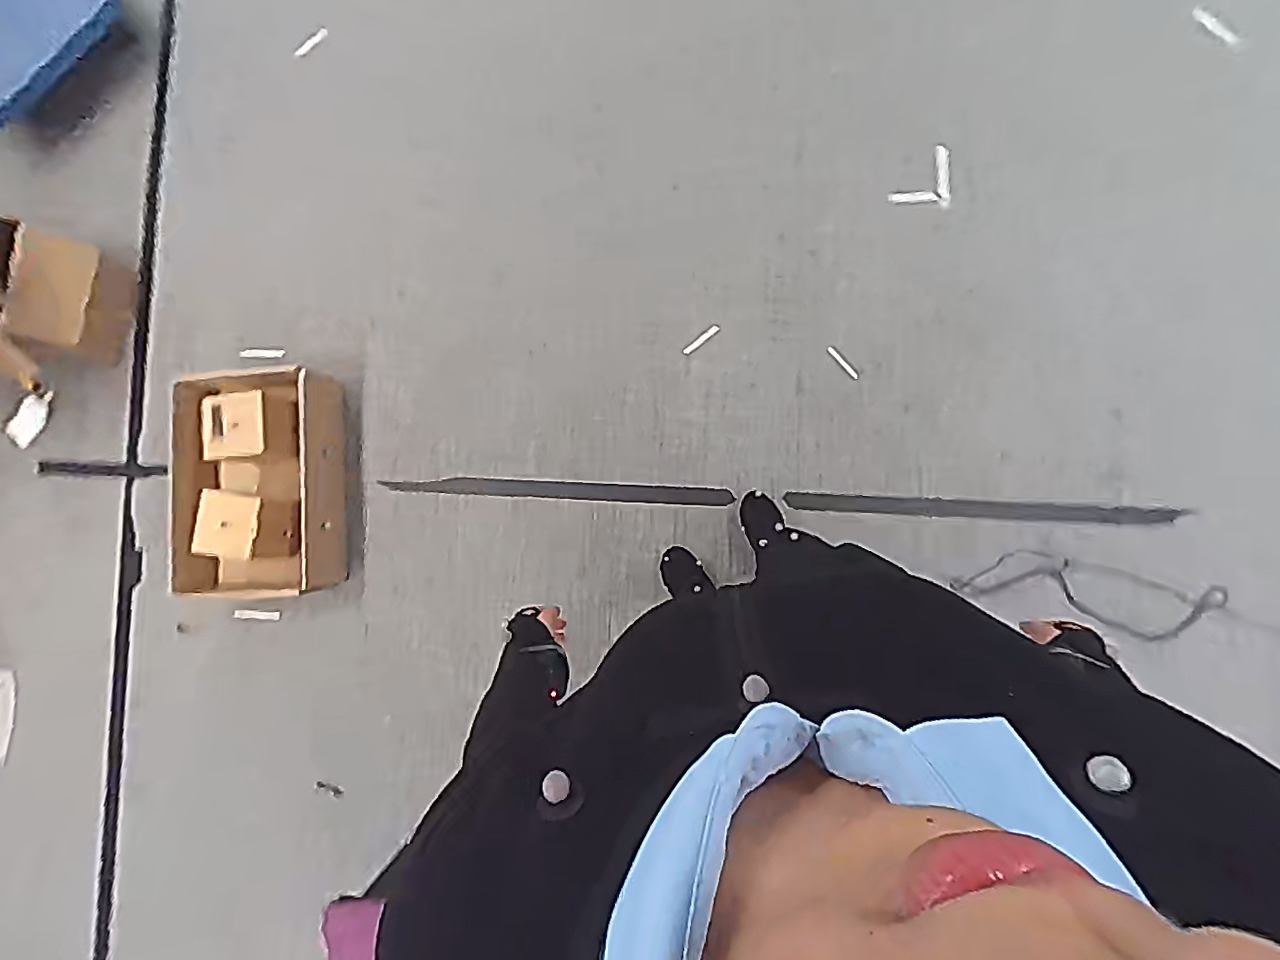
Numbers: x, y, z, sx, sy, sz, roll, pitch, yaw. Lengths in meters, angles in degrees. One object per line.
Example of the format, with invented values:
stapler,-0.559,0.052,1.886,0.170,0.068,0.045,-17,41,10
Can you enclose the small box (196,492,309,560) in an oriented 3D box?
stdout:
small box,-1.075,0.128,1.510,0.179,0.176,0.168,7,86,7
